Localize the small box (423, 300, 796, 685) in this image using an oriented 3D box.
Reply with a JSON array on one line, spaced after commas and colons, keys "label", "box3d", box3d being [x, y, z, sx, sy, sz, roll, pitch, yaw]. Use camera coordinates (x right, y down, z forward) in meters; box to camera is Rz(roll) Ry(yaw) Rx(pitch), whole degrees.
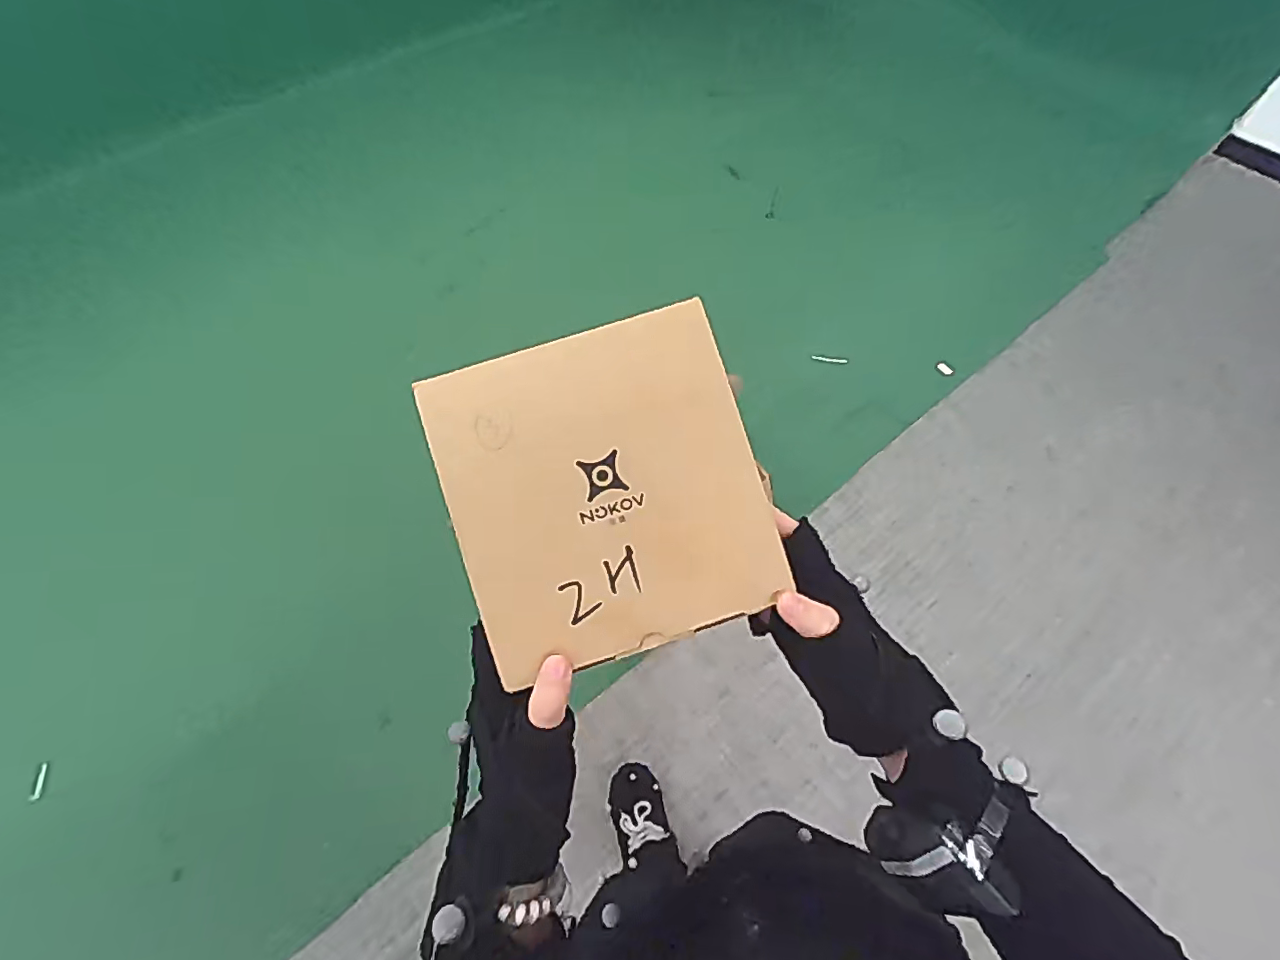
[{"label": "small box", "box3d": [-0.020, 0.009, 0.369, 0.168, 0.176, 0.179, -17, 87, -2]}]
